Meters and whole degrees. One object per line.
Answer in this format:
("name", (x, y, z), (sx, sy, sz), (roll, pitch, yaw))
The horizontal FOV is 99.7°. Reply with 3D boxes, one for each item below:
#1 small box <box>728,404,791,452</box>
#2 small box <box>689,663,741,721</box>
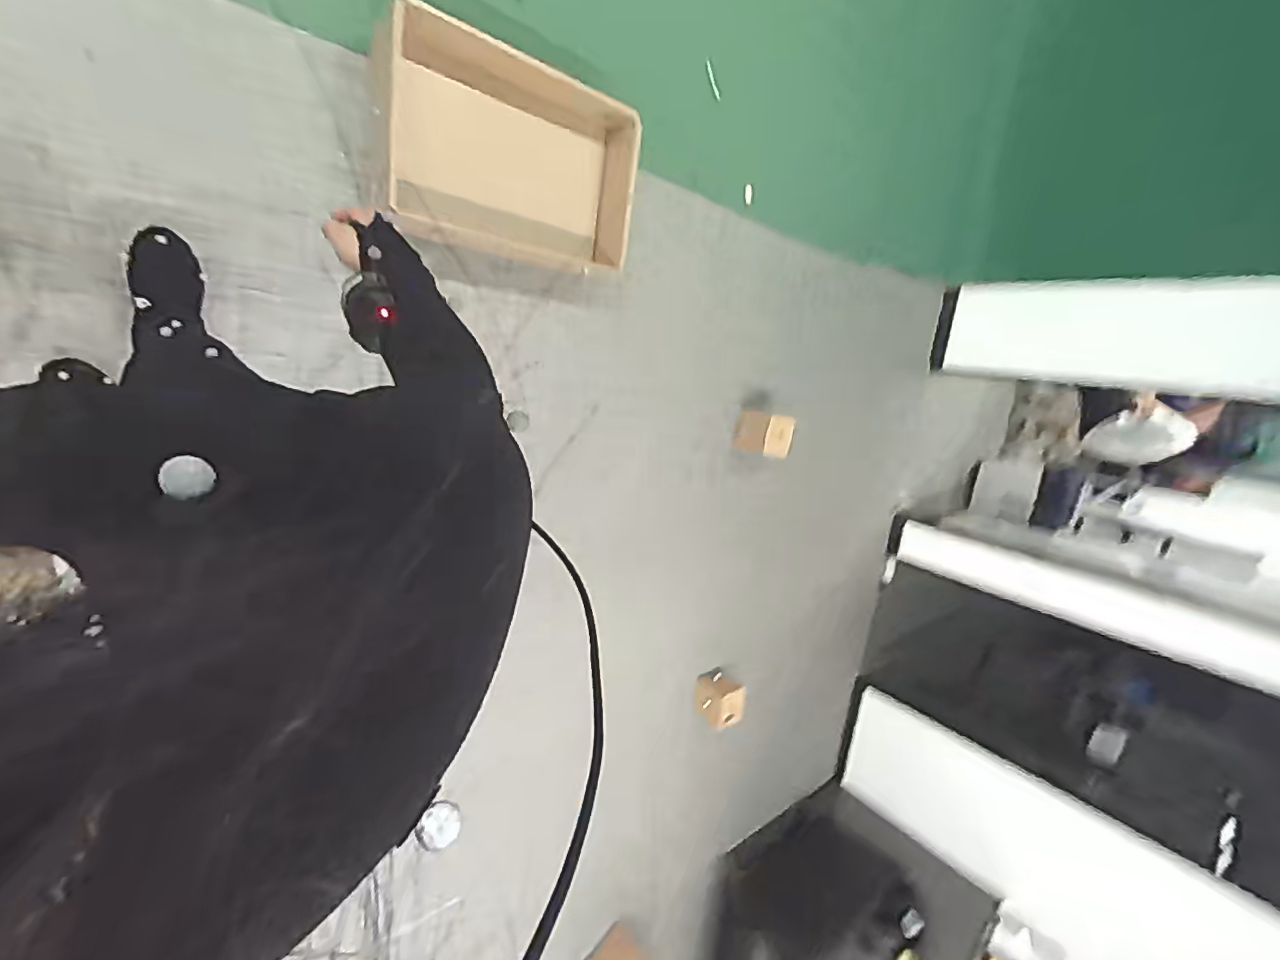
("small box", (0.500, -0.220, 2.269), (0.179, 0.176, 0.168), (2, 103, -42))
("small box", (0.353, 1.004, 2.576), (0.168, 0.176, 0.179), (-3, 106, -41))
